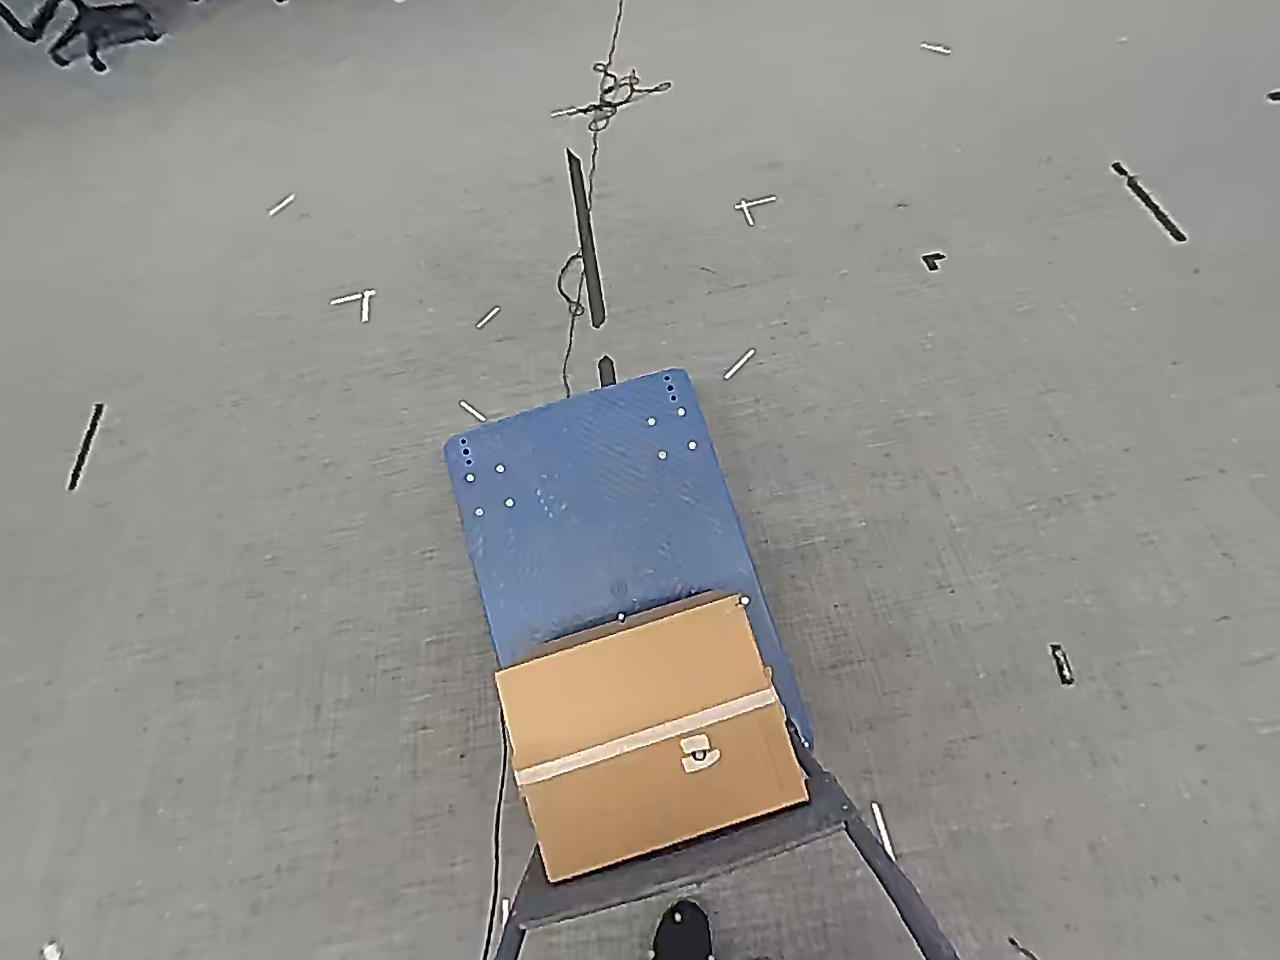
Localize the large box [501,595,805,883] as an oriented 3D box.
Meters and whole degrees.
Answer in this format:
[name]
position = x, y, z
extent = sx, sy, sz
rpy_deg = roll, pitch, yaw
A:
[large box]
position = 0.017, 0.417, 0.971
extent = 0.408, 0.320, 0.320
rpy_deg = -18, 81, -2
